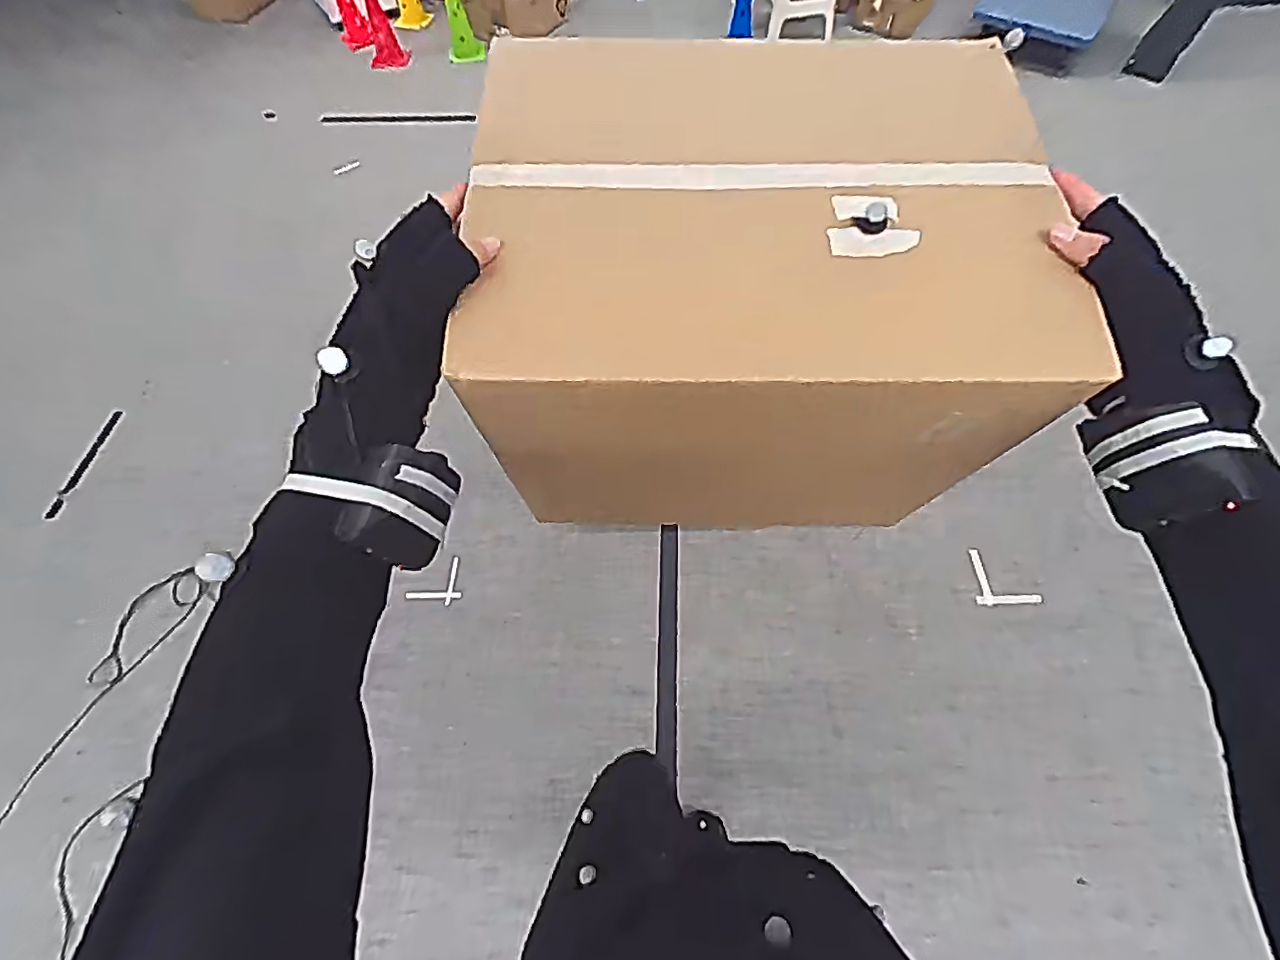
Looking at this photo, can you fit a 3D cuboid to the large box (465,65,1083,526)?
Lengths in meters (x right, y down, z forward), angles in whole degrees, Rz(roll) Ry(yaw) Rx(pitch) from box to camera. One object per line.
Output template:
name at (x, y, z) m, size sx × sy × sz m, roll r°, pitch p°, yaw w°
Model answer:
large box at (0.080, -0.147, 0.532) m, size 0.408 × 0.320 × 0.320 m, roll 0°, pitch 70°, yaw -1°
